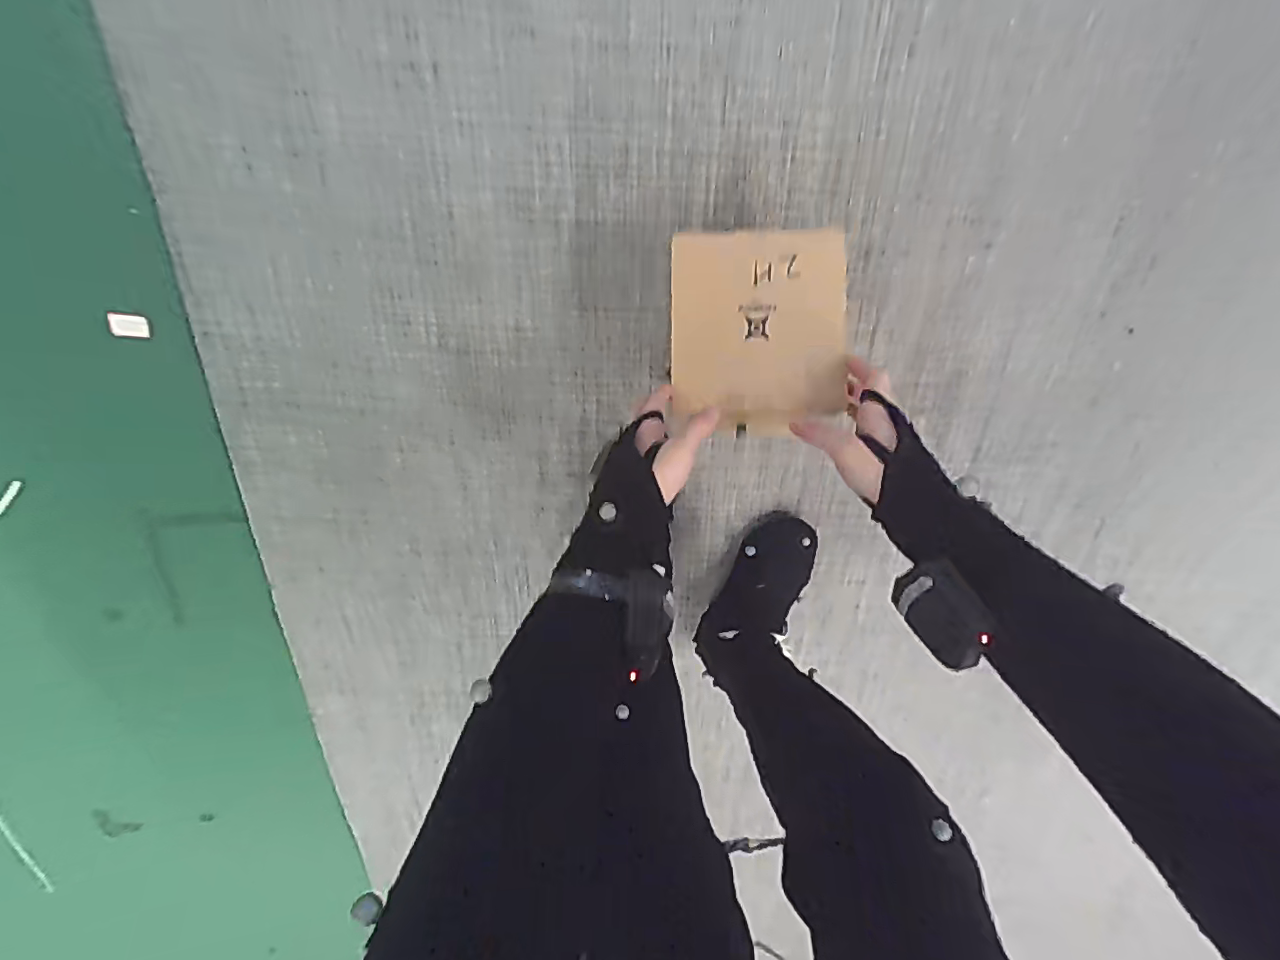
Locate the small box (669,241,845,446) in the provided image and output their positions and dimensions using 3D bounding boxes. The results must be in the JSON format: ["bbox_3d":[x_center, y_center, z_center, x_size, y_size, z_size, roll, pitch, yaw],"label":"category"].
[{"bbox_3d":[0.119,-0.135,0.595,0.168,0.176,0.179,0,83,5],"label":"small box"}]
